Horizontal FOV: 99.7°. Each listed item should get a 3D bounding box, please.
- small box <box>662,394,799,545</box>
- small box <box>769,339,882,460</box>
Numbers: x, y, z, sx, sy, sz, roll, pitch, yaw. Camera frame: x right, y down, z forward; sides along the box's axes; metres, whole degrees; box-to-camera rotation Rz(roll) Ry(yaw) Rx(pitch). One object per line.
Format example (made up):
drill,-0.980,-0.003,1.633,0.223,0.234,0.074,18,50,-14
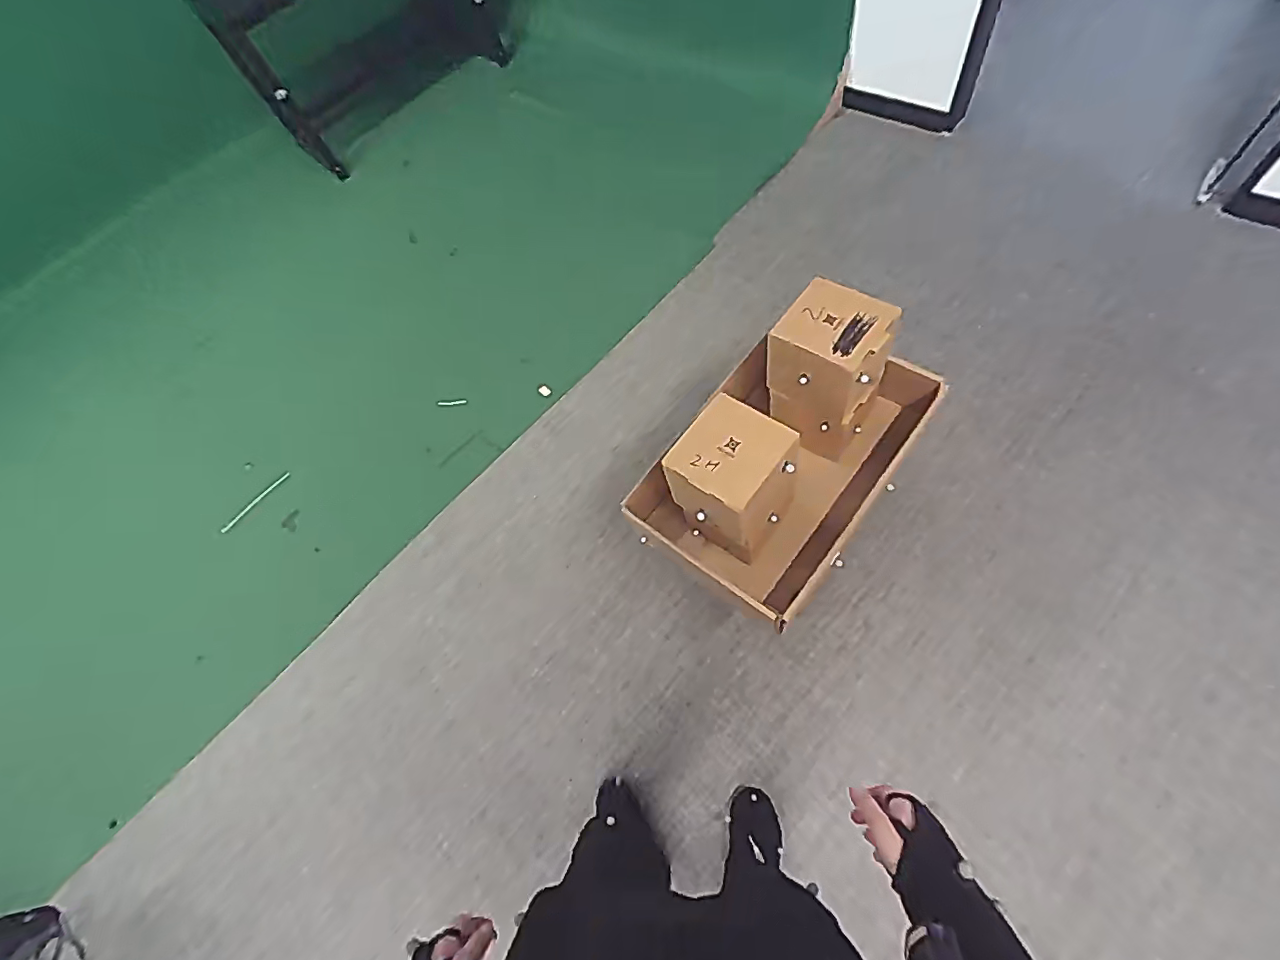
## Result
small box,0.164,-0.015,0.974,0.168,0.176,0.179,34,75,25
small box,0.398,-0.171,1.193,0.179,0.176,0.168,30,73,23
